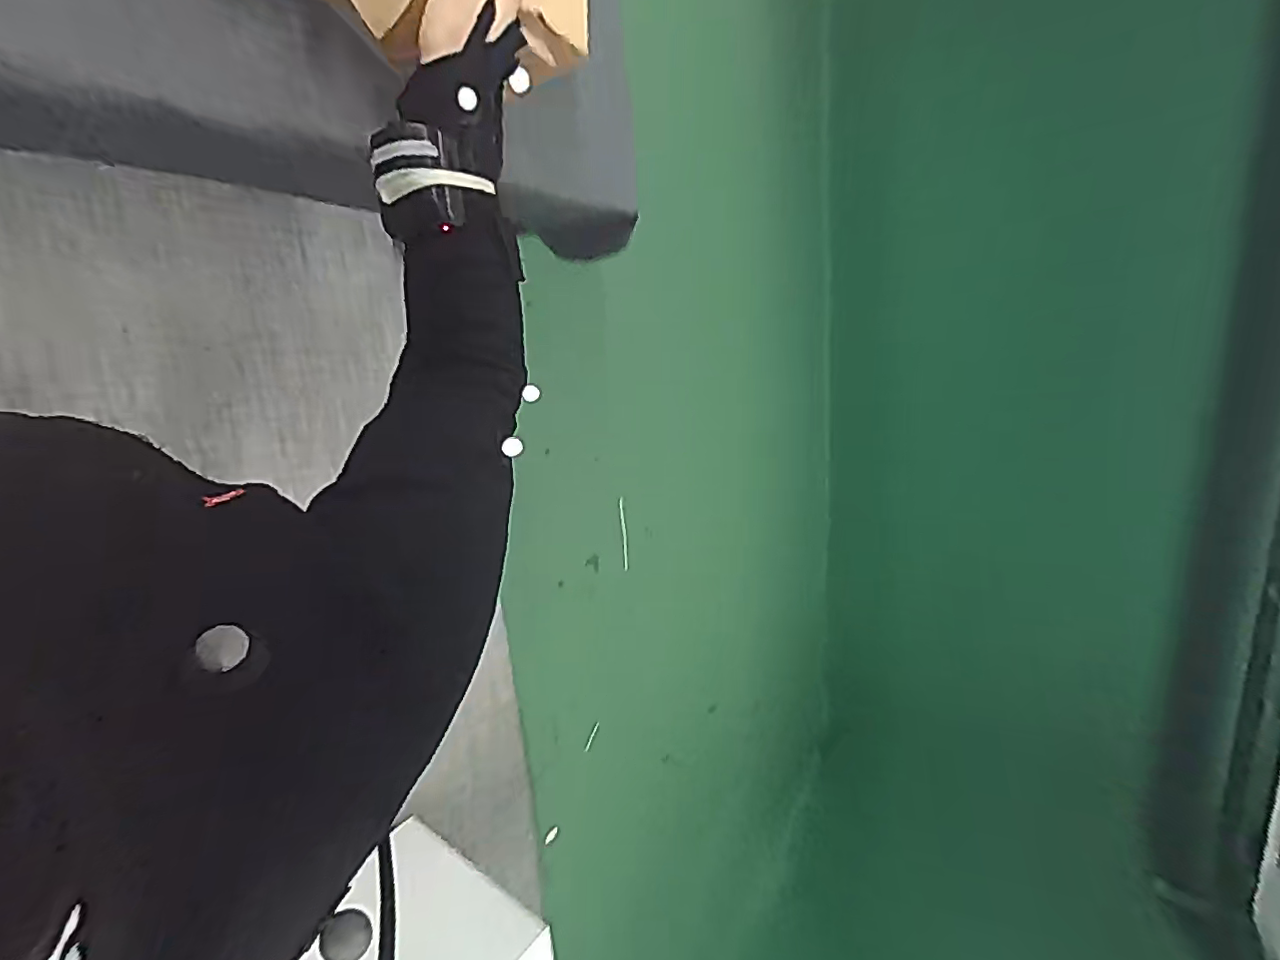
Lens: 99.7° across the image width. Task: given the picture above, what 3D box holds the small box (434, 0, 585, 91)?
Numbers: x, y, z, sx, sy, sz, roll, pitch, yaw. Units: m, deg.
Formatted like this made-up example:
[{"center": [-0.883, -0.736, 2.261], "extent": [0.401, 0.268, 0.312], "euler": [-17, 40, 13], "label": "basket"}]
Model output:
[{"center": [-0.188, -0.640, 0.677], "extent": [0.168, 0.176, 0.179], "euler": [-13, 105, -52], "label": "small box"}]

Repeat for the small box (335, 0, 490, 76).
[{"center": [-0.157, -0.388, 0.284], "extent": [0.168, 0.176, 0.179], "euler": [-43, 178, 2], "label": "small box"}]
